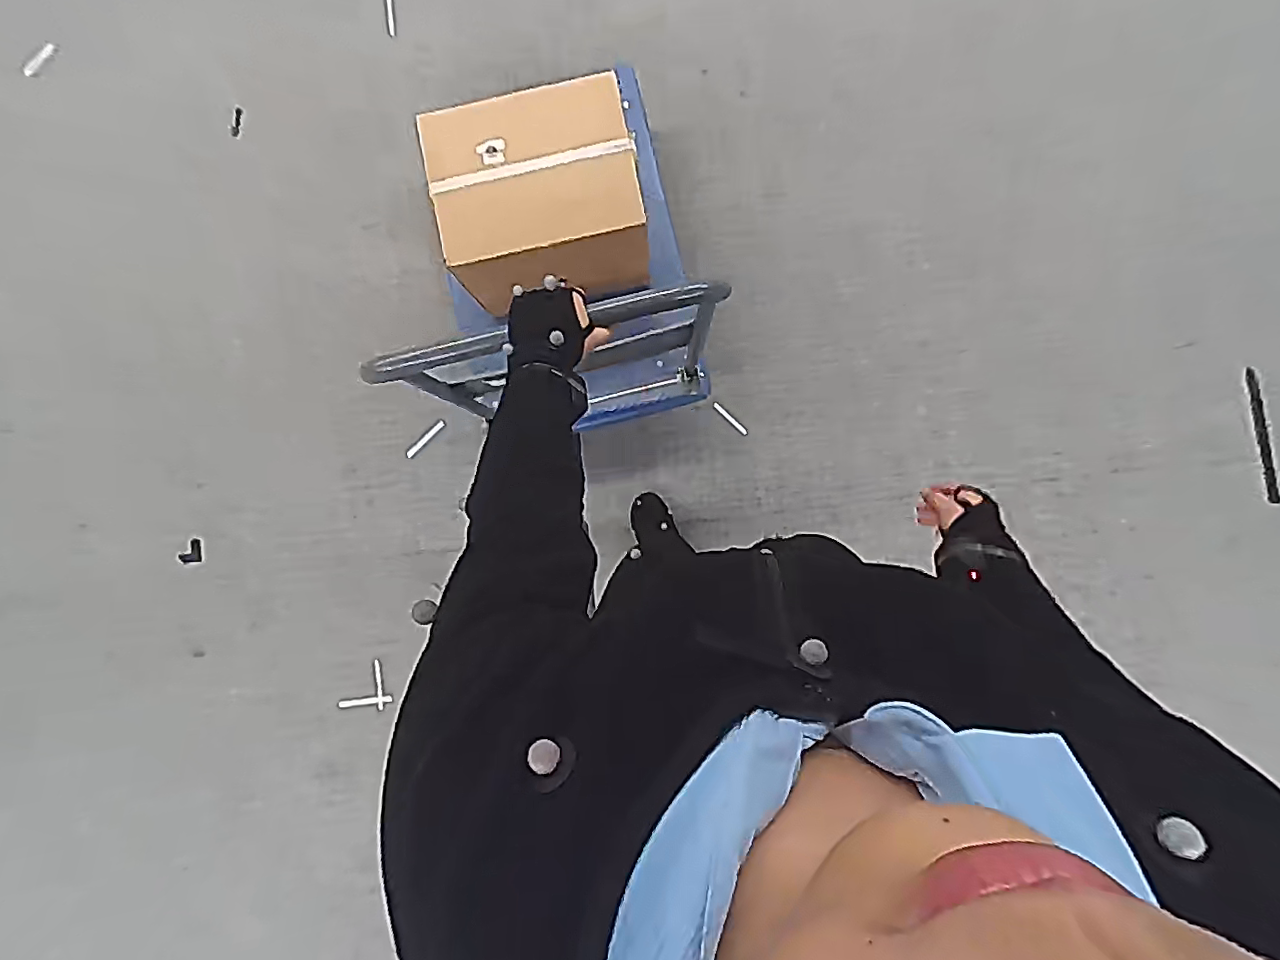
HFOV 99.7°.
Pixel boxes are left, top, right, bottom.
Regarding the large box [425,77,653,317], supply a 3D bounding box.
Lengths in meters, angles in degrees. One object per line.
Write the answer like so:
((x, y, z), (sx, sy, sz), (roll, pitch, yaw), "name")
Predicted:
((-0.200, -0.603, 1.219), (0.408, 0.320, 0.320), (-12, 87, 3), "large box")
